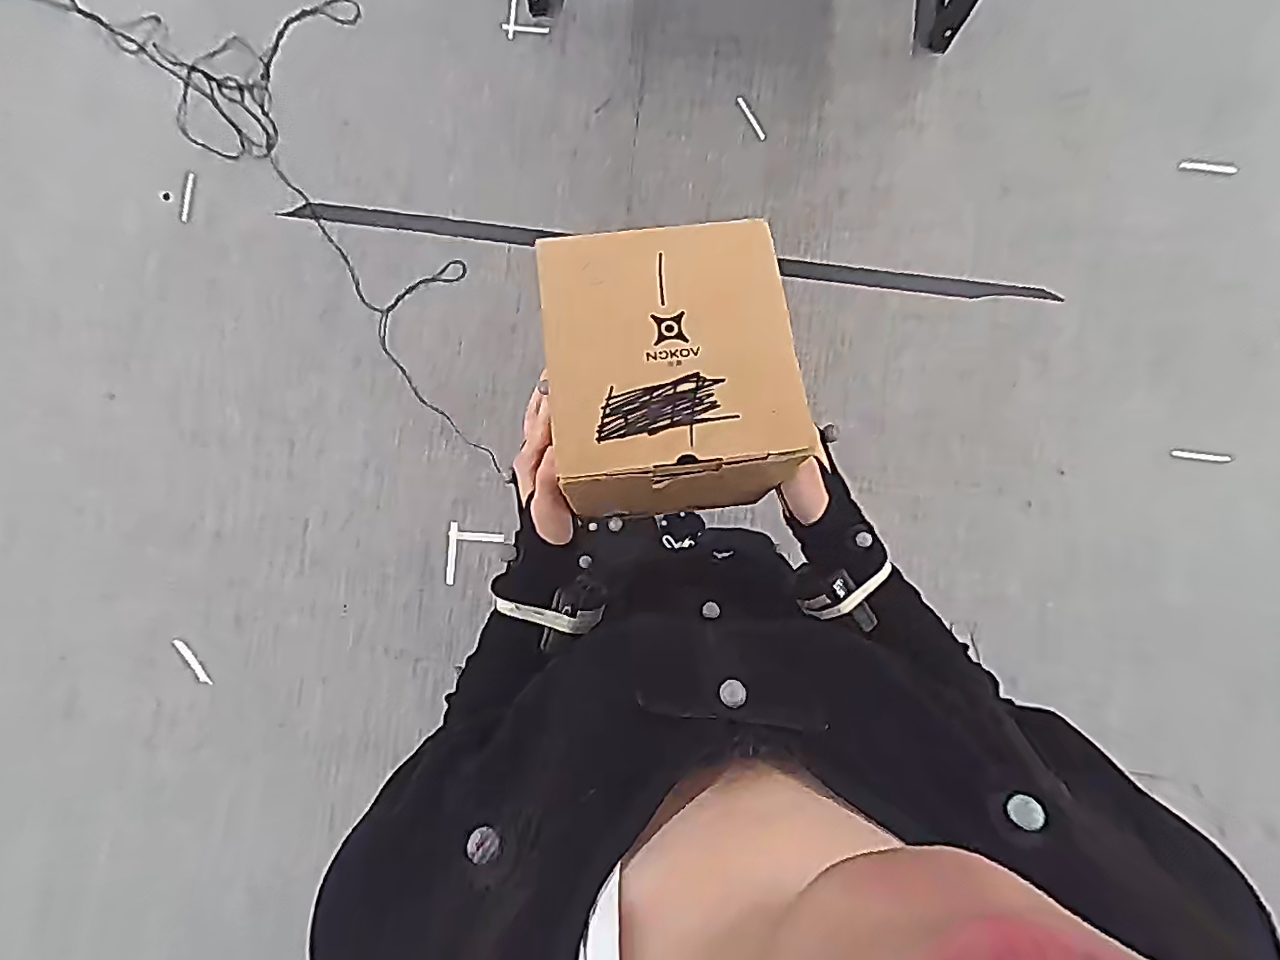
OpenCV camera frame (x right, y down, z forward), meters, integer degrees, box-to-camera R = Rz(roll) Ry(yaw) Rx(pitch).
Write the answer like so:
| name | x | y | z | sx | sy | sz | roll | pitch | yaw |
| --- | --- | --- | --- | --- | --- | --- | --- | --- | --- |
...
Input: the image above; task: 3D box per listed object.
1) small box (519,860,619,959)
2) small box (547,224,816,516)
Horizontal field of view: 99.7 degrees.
| name | x | y | z | sx | sy | sz | roll | pitch | yaw |
| --- | --- | --- | --- | --- | --- | --- | --- | --- | --- |
| small box | -0.139 | 0.905 | 1.088 | 0.179 | 0.176 | 0.168 | 5 | 87 | 2 |
| small box | 0.023 | -0.071 | 0.439 | 0.168 | 0.176 | 0.179 | -6 | 75 | -3 |
